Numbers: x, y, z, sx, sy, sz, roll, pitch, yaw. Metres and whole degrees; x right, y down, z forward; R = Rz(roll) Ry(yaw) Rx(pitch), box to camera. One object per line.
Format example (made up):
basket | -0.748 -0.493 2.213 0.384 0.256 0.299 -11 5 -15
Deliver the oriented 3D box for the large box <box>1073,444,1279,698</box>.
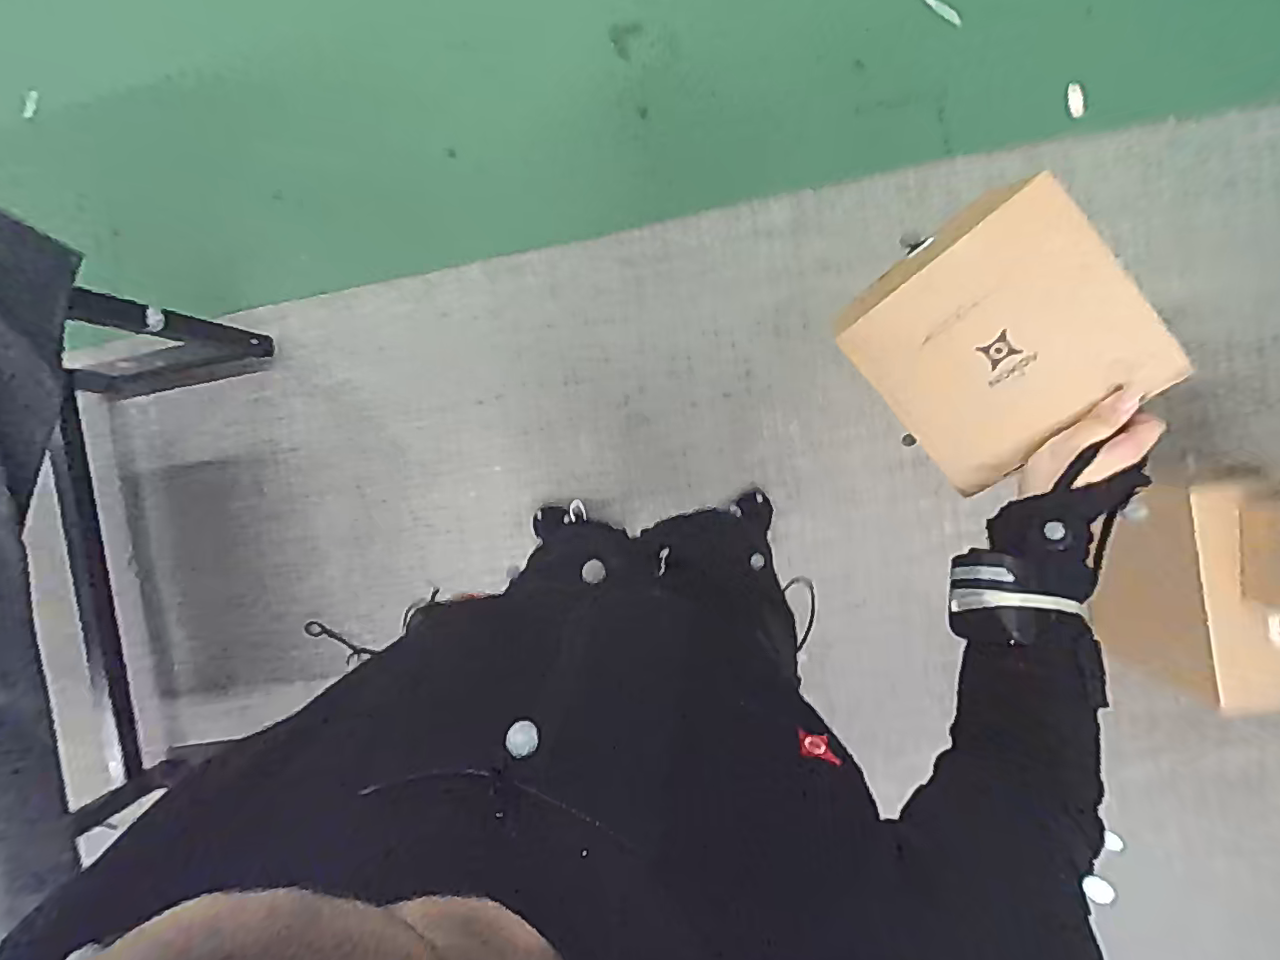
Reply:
large box | 1.152 0.154 1.079 0.320 0.320 0.408 -10 93 8
